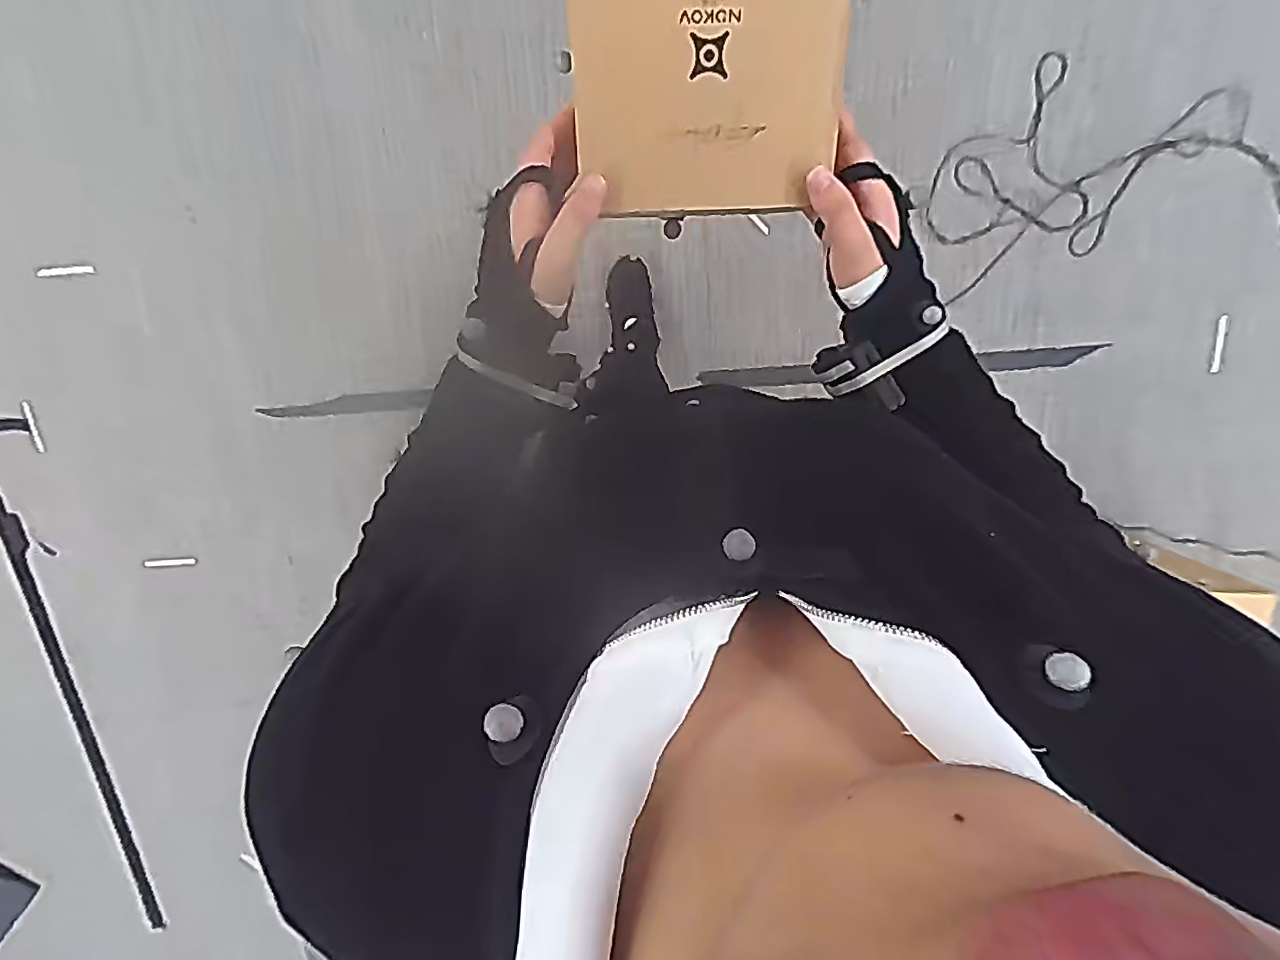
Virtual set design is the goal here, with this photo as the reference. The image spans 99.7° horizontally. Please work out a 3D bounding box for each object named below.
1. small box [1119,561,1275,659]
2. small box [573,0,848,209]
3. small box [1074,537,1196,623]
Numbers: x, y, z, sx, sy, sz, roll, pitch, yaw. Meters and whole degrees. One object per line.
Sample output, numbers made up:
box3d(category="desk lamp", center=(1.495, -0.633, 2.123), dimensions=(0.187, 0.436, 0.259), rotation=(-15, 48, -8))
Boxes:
box3d(category="small box", center=(1.284, 0.297, 1.262), dimensions=(0.179, 0.176, 0.168), rotation=(1, 104, 1))
box3d(category="small box", center=(0.039, -0.301, 0.394), dimensions=(0.168, 0.176, 0.179), rotation=(-2, 115, 0))
box3d(category="small box", center=(1.298, 0.264, 1.423), dimensions=(0.168, 0.176, 0.179), rotation=(3, 103, 0))
